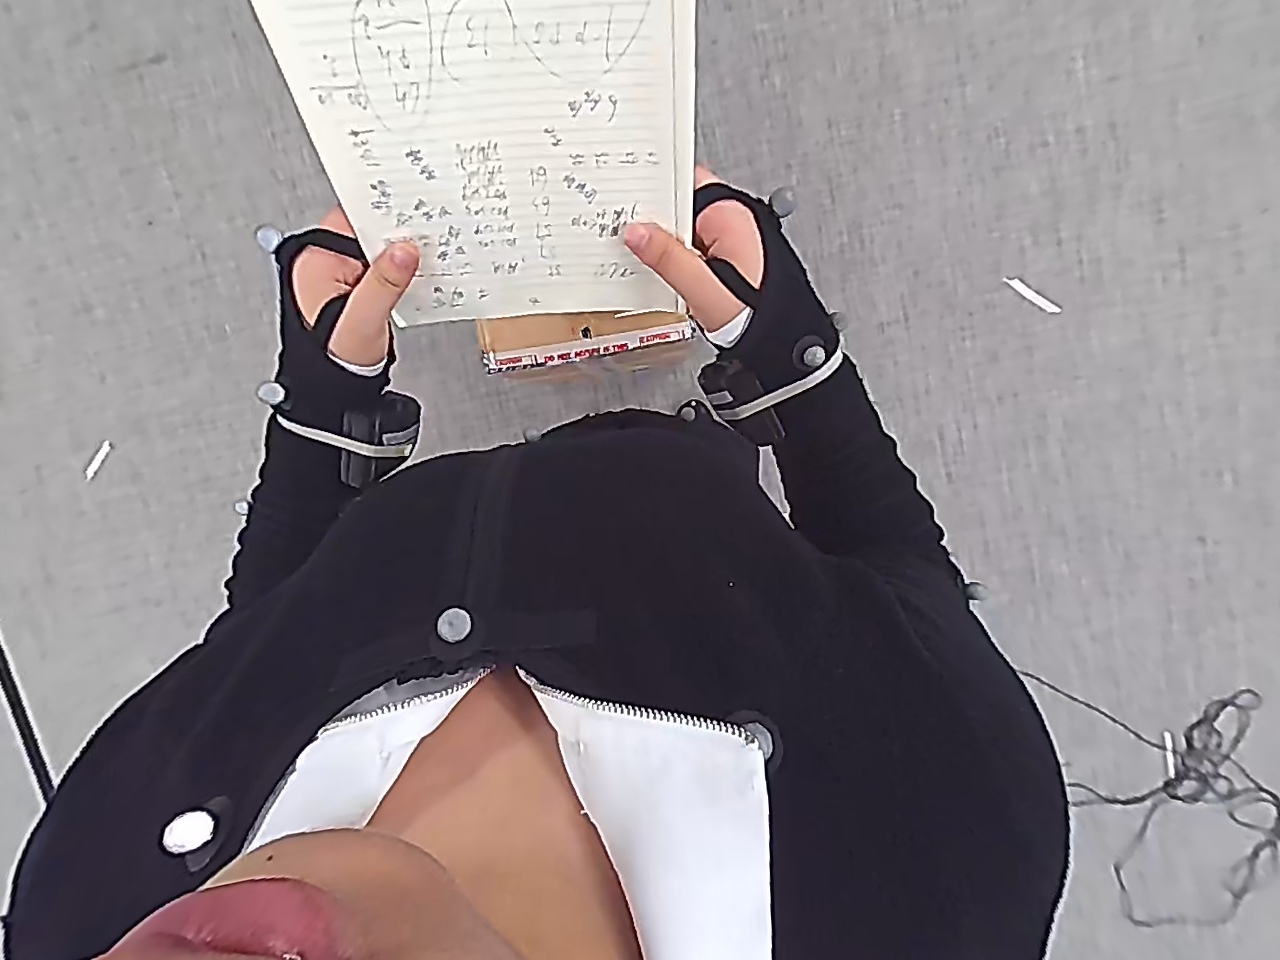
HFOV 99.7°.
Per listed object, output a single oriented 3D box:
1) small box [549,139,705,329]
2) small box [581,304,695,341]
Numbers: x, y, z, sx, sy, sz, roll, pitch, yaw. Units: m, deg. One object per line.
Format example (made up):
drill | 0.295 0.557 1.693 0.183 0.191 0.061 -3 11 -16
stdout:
small box | -0.015 -0.312 0.722 0.168 0.176 0.179 -10 99 2
small box | -0.017 -0.334 0.885 0.179 0.176 0.168 -13 97 3
